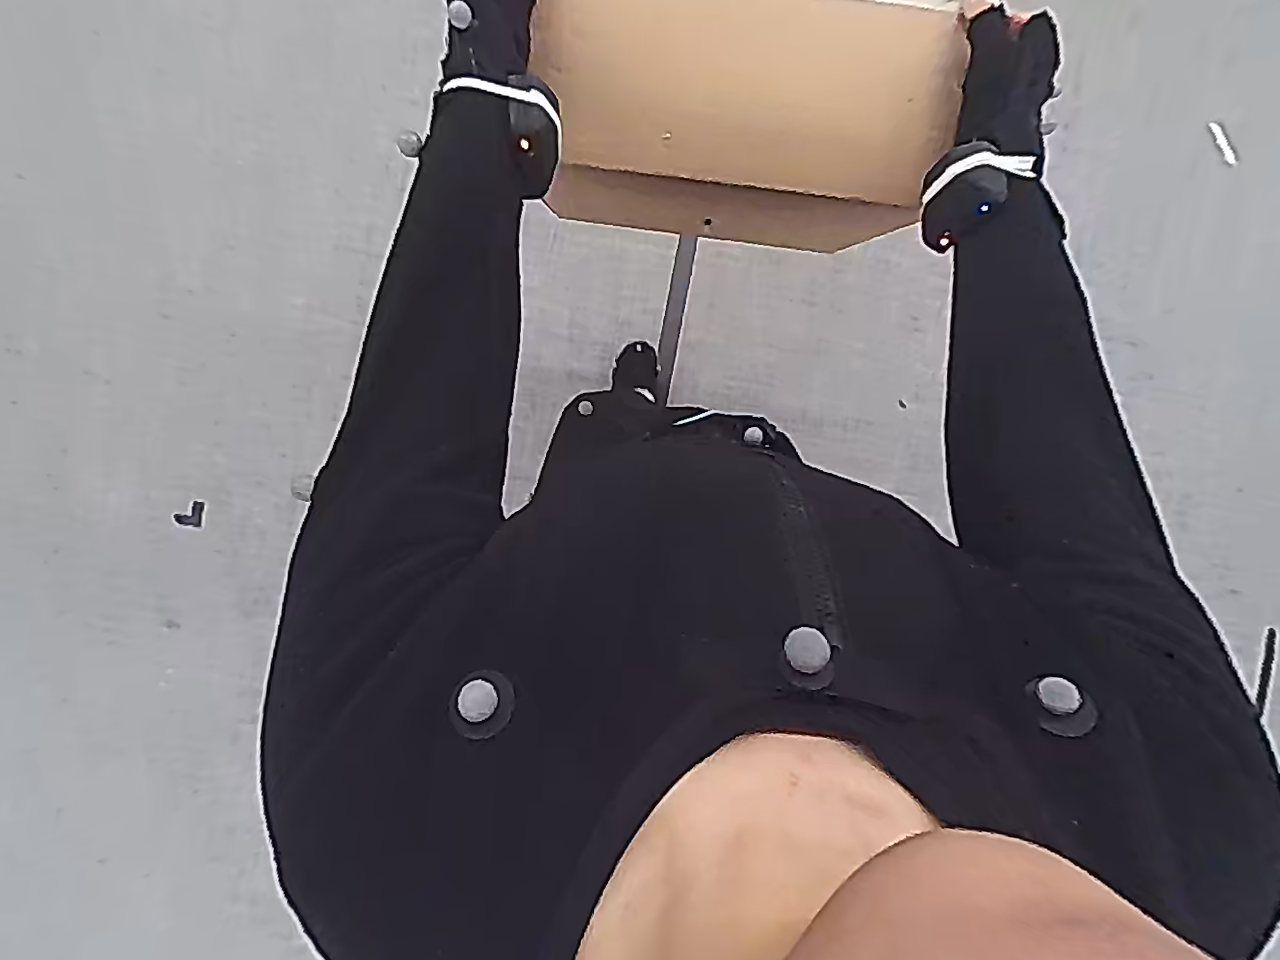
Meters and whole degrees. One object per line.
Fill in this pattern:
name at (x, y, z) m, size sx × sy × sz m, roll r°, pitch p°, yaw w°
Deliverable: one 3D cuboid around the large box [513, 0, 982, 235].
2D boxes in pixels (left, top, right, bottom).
large box at (0.098, -0.473, 0.598) m, size 0.408 × 0.320 × 0.320 m, roll 6°, pitch 106°, yaw -2°
